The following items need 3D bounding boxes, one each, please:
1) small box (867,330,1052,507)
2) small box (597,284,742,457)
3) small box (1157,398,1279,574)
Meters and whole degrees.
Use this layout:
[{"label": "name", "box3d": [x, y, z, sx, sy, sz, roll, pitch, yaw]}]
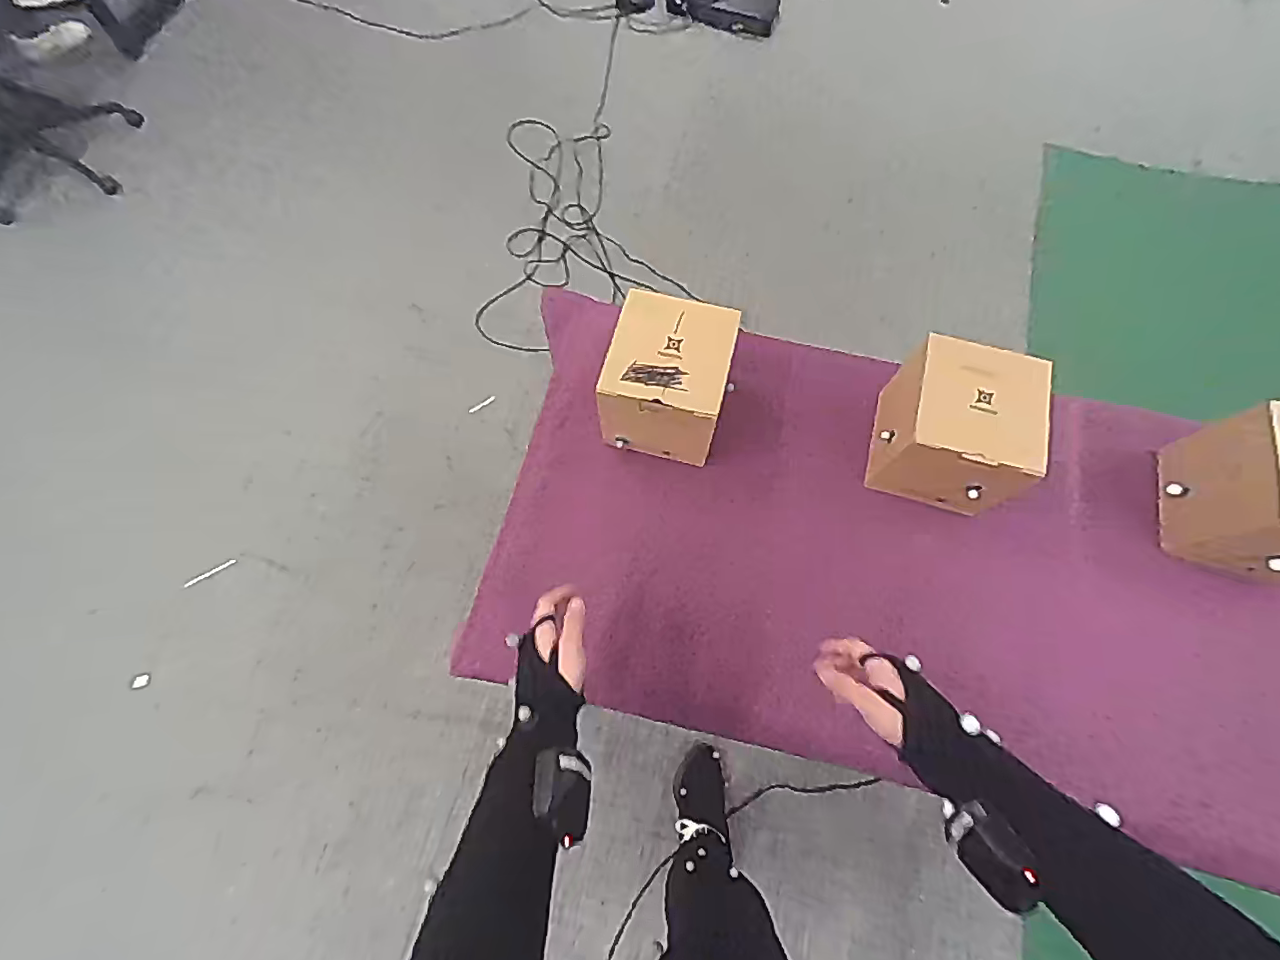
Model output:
[{"label": "small box", "box3d": [0.448, -0.079, 0.779, 0.168, 0.176, 0.179, 17, 70, 6]}, {"label": "small box", "box3d": [0.043, -0.154, 0.806, 0.168, 0.176, 0.179, 14, 69, 5]}, {"label": "small box", "box3d": [0.860, 0.019, 0.737, 0.168, 0.176, 0.179, 15, 72, 6]}]
